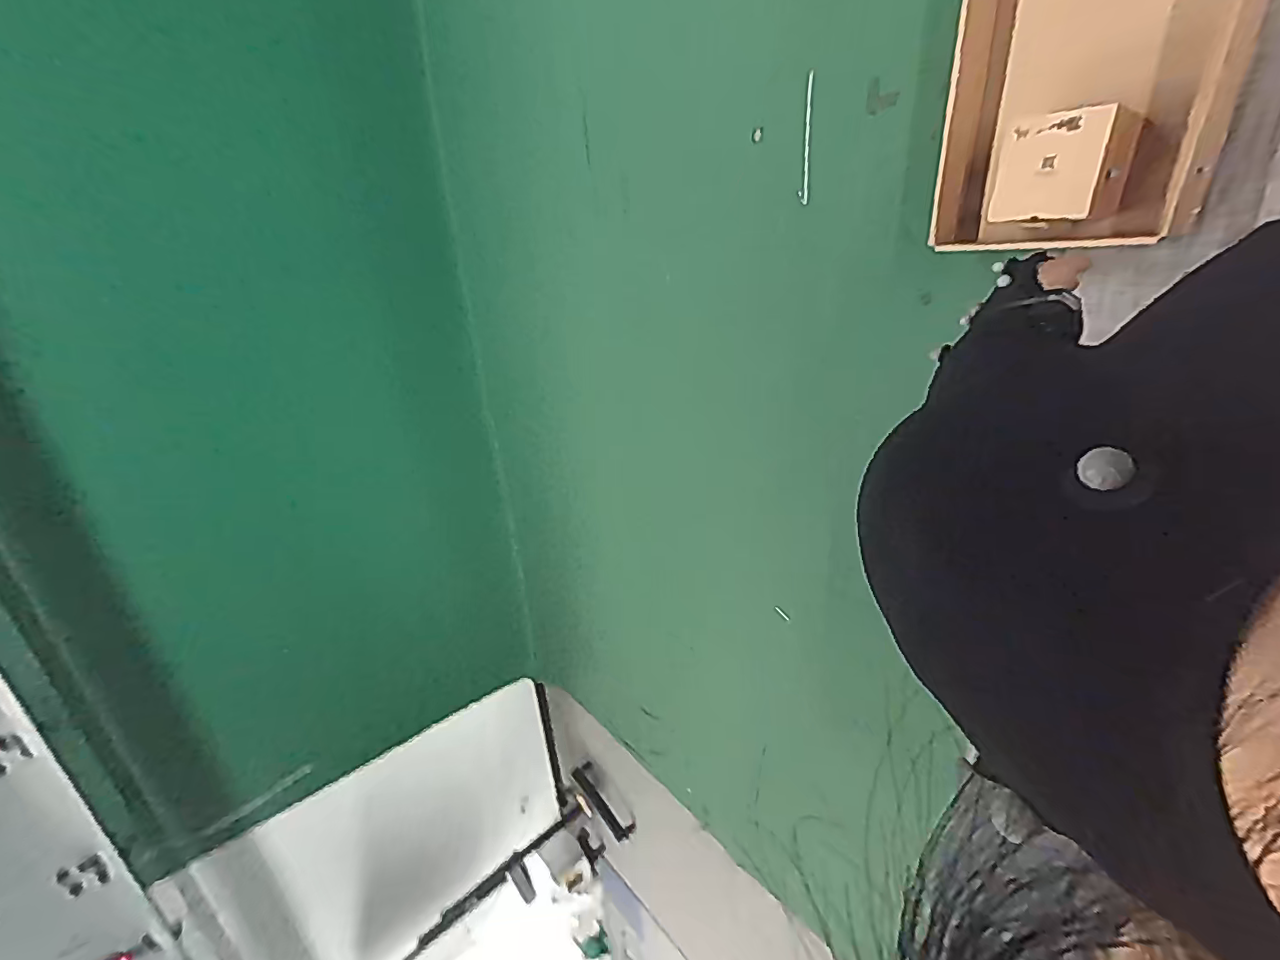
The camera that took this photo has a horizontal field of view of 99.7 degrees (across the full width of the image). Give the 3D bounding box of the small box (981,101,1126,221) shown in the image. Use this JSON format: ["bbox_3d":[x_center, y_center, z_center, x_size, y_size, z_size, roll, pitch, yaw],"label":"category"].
[{"bbox_3d":[0.784,-0.597,1.028,0.168,0.176,0.179,22,125,43],"label":"small box"}]

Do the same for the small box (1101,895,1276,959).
[{"bbox_3d":[0.673,0.651,0.645,0.179,0.176,0.168,25,128,42],"label":"small box"}]
